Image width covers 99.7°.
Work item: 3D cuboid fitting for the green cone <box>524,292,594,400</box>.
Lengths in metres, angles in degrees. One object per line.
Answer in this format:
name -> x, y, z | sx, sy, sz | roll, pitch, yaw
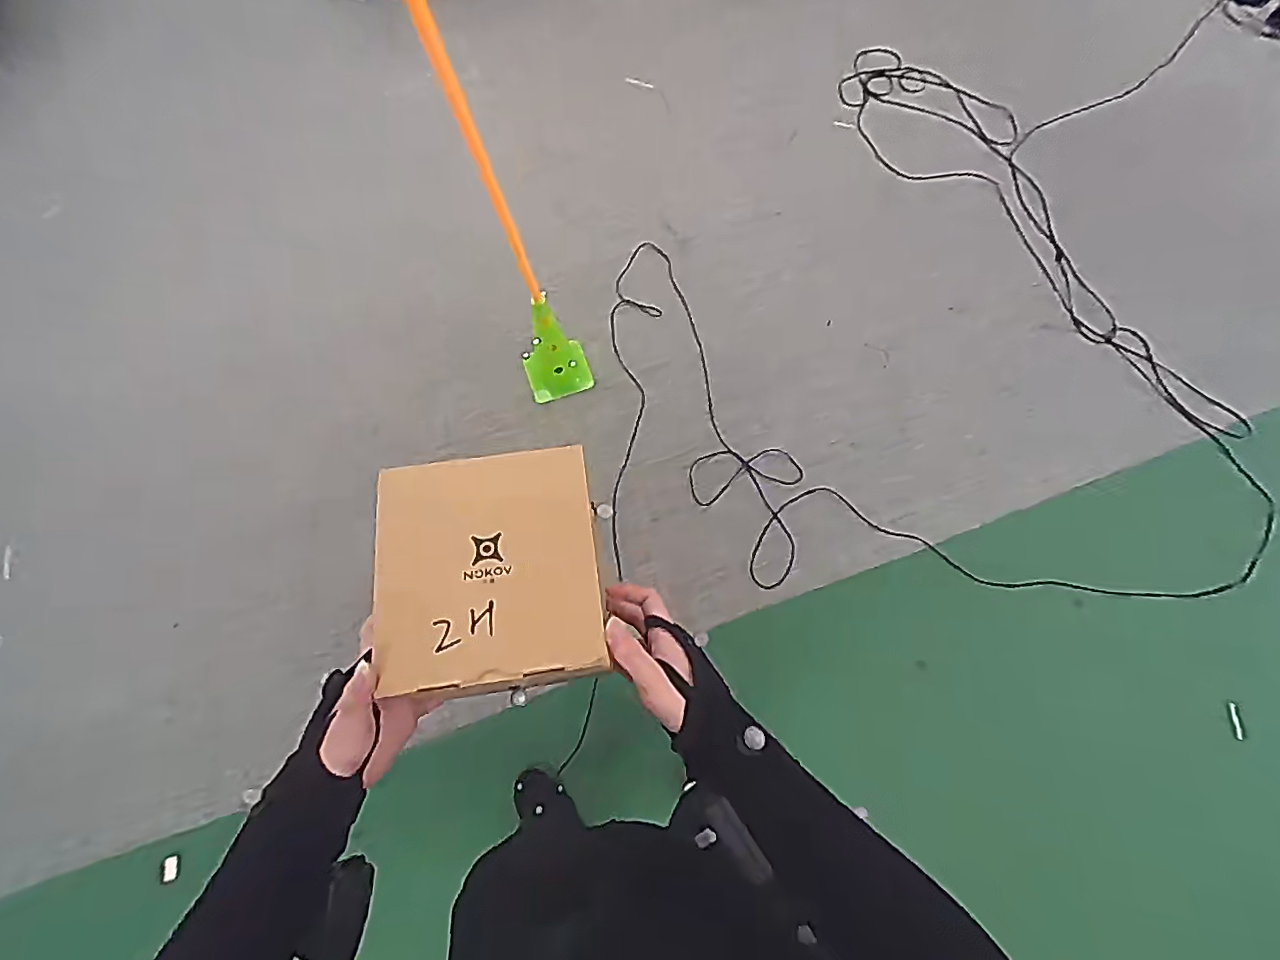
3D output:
green cone -> -0.268, -0.428, 1.633 | 0.202, 0.368, 0.200 | -18, 71, -8
